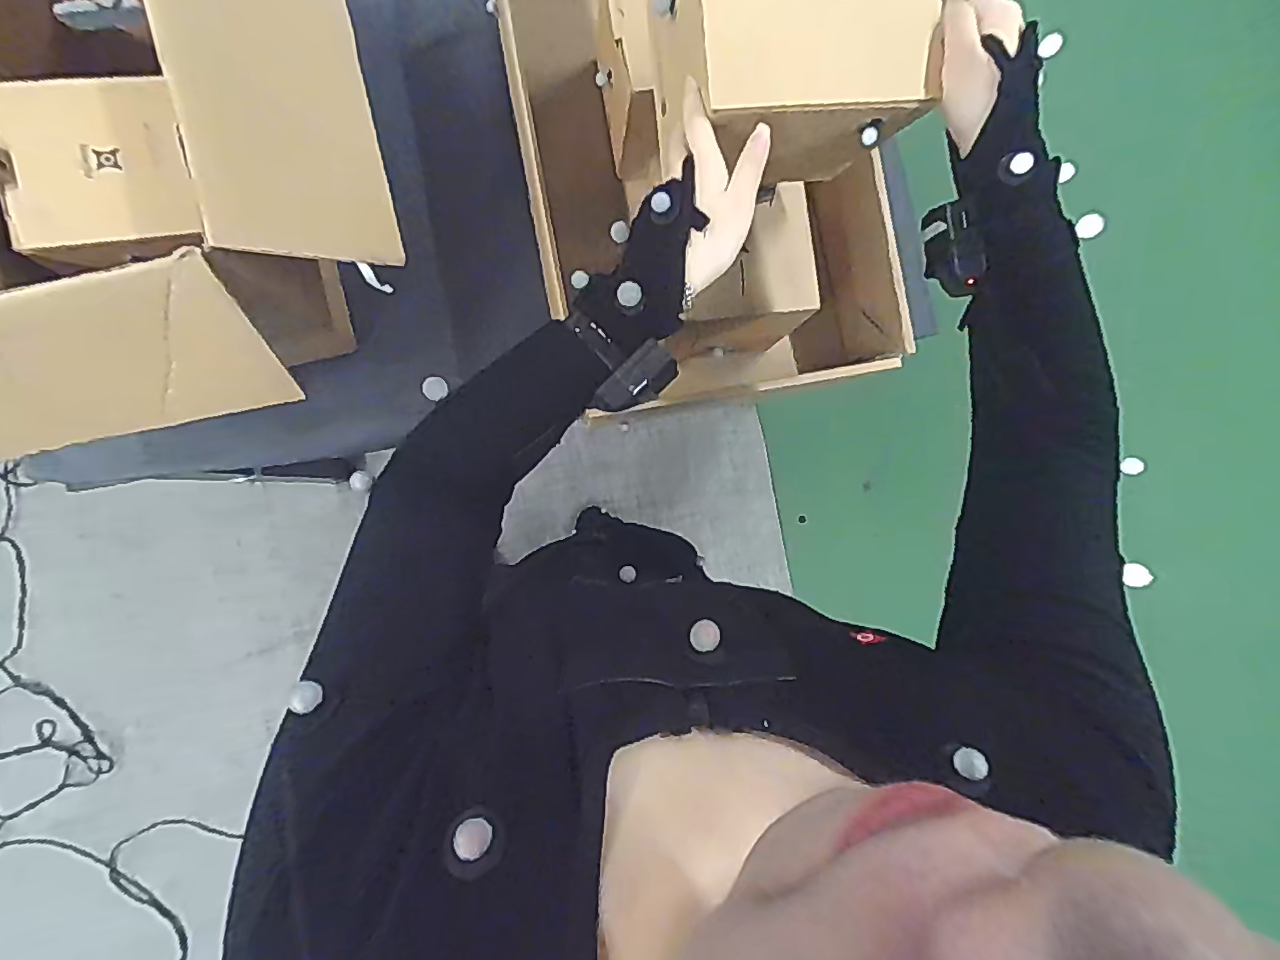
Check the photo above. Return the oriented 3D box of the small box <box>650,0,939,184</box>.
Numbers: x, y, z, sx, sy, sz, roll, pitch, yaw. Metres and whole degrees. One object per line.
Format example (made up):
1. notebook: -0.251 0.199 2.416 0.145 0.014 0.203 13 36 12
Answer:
1. small box: 0.107 -0.355 0.437 0.179 0.176 0.168 -8 103 -8
